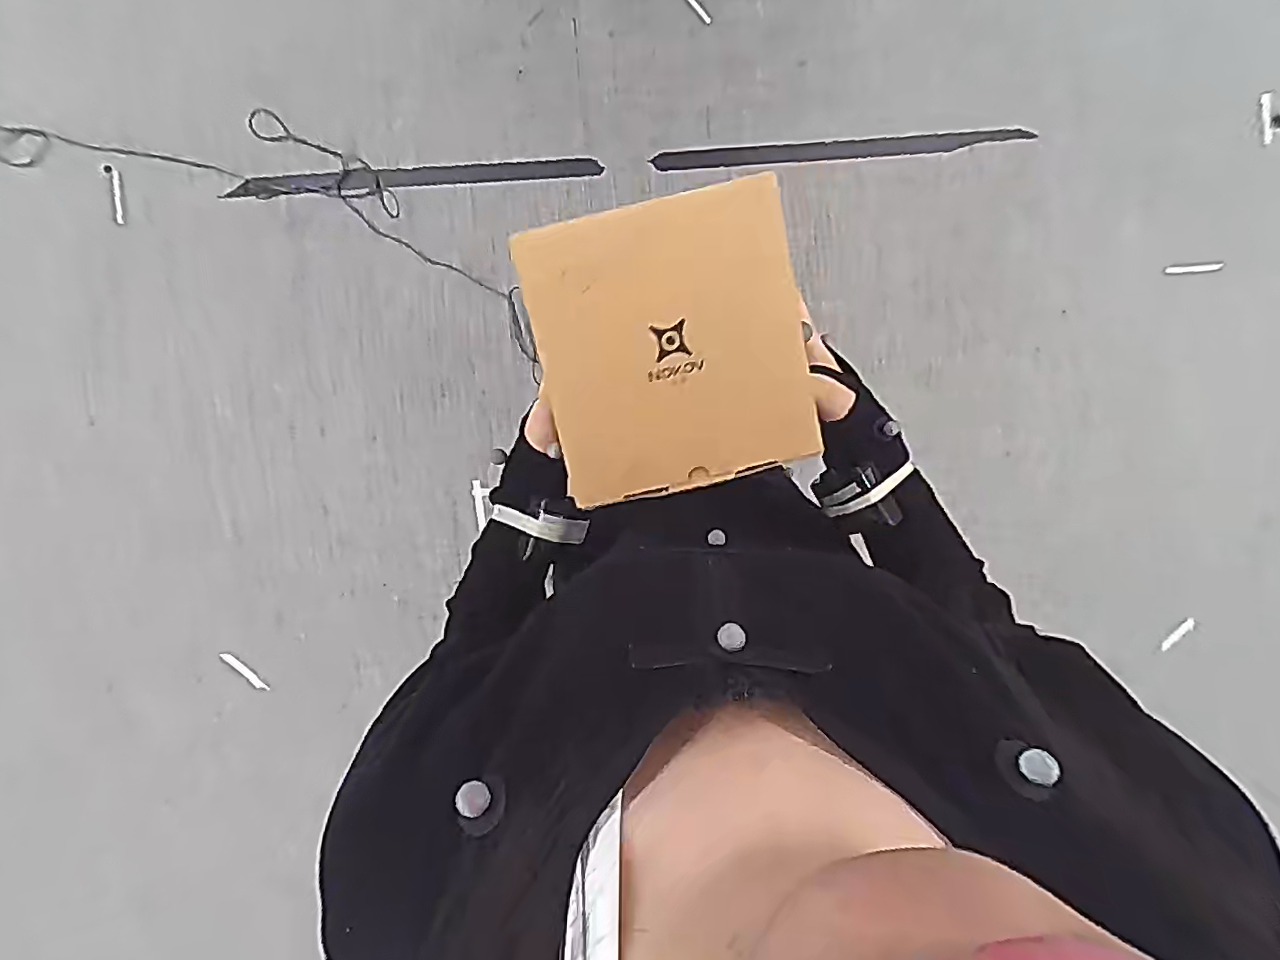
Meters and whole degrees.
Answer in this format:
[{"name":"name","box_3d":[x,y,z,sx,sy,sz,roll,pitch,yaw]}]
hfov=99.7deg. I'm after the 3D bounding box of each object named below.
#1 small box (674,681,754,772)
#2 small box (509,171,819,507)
[{"name":"small box","box_3d":[0.190,0.640,1.419,0.179,0.176,0.168,3,91,-2]},{"name":"small box","box_3d":[0.016,-0.097,0.413,0.168,0.176,0.179,-14,101,2]}]
